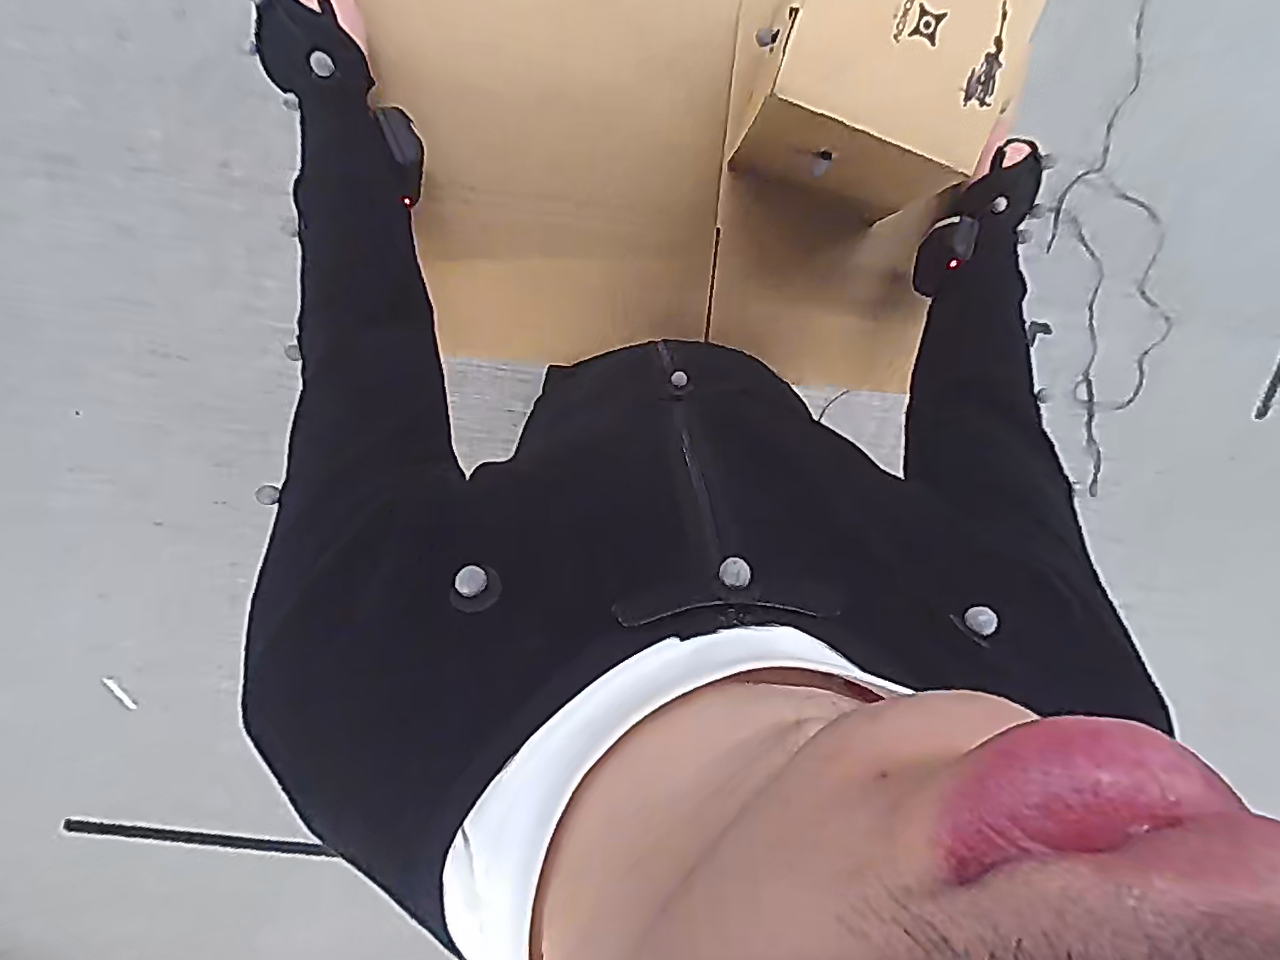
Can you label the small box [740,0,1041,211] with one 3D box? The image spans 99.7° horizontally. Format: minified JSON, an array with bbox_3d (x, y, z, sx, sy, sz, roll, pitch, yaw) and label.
[{"bbox_3d":[0.206,-0.366,0.485,0.179,0.176,0.168,18,103,-5],"label":"small box"}]
